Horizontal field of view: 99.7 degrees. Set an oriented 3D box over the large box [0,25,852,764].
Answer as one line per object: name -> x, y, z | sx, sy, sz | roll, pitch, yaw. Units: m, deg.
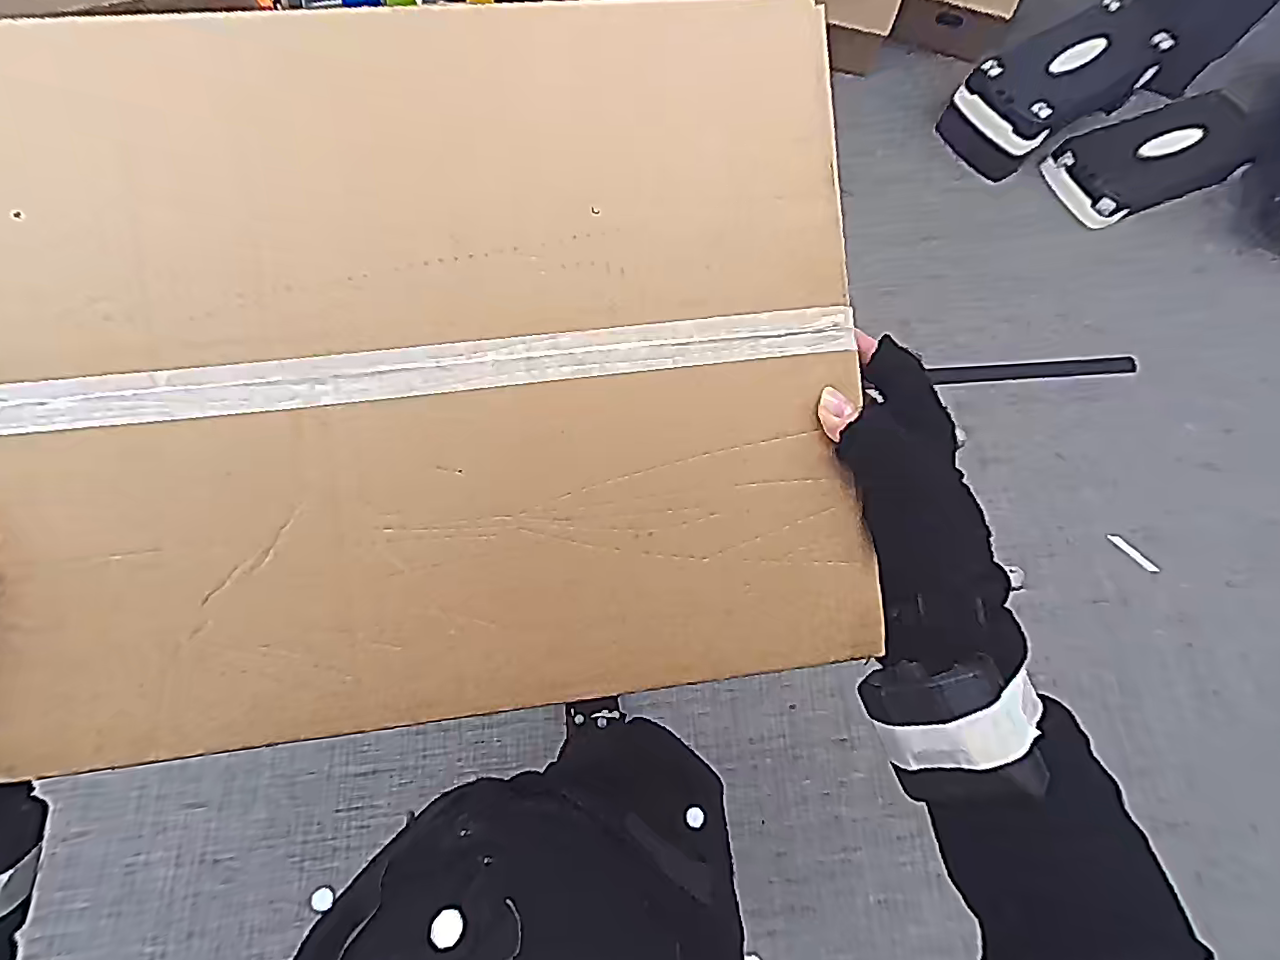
large box -> -0.115, -0.052, 0.399 | 0.408, 0.320, 0.320 | -6, 91, -5
